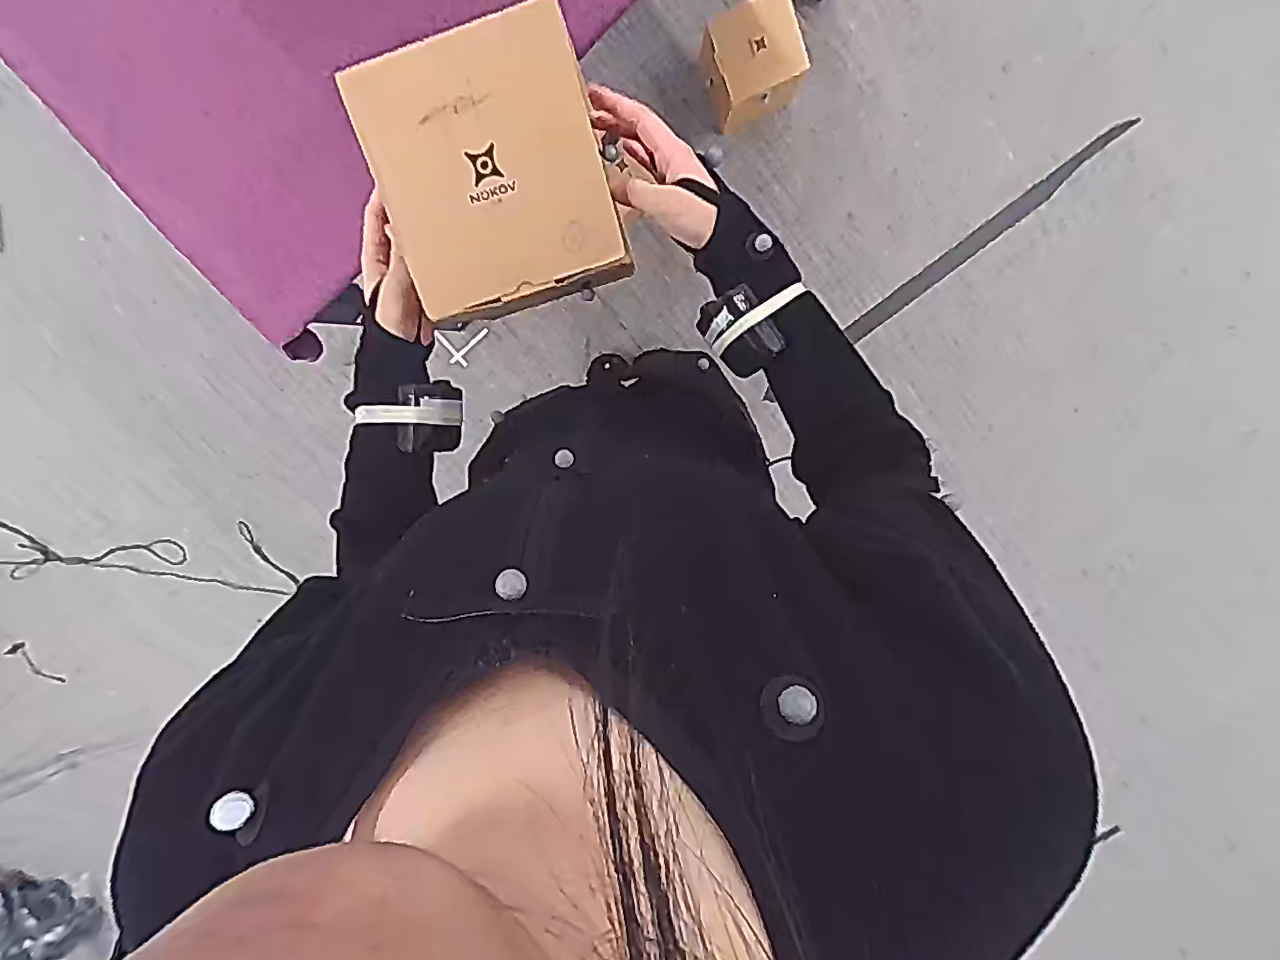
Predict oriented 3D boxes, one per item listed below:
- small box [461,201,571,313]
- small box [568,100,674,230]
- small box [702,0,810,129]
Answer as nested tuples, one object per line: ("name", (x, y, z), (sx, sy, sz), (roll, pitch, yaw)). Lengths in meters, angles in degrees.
("small box", (-0.289, -0.523, 1.301), (0.168, 0.176, 0.179), (-36, 99, 10))
("small box", (-0.039, -0.710, 1.244), (0.168, 0.176, 0.179), (-39, 101, 11))
("small box", (0.247, -0.915, 1.184), (0.179, 0.176, 0.168), (-21, 103, 8))
